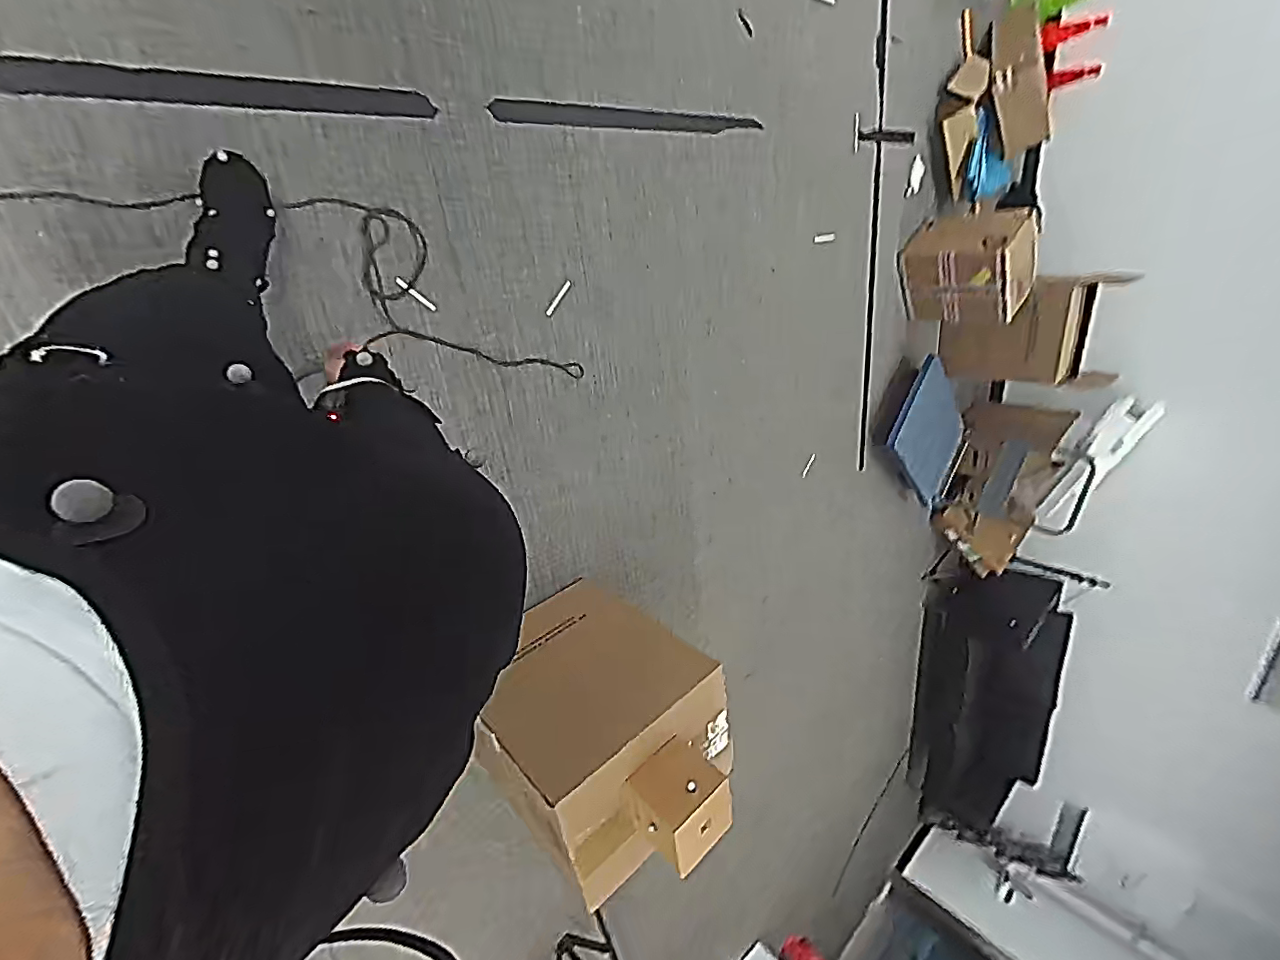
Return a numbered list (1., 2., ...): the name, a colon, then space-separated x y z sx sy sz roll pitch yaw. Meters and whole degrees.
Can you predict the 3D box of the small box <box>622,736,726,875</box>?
1. small box: 0.073 0.743 1.252 0.179 0.176 0.168 -27 120 -35
